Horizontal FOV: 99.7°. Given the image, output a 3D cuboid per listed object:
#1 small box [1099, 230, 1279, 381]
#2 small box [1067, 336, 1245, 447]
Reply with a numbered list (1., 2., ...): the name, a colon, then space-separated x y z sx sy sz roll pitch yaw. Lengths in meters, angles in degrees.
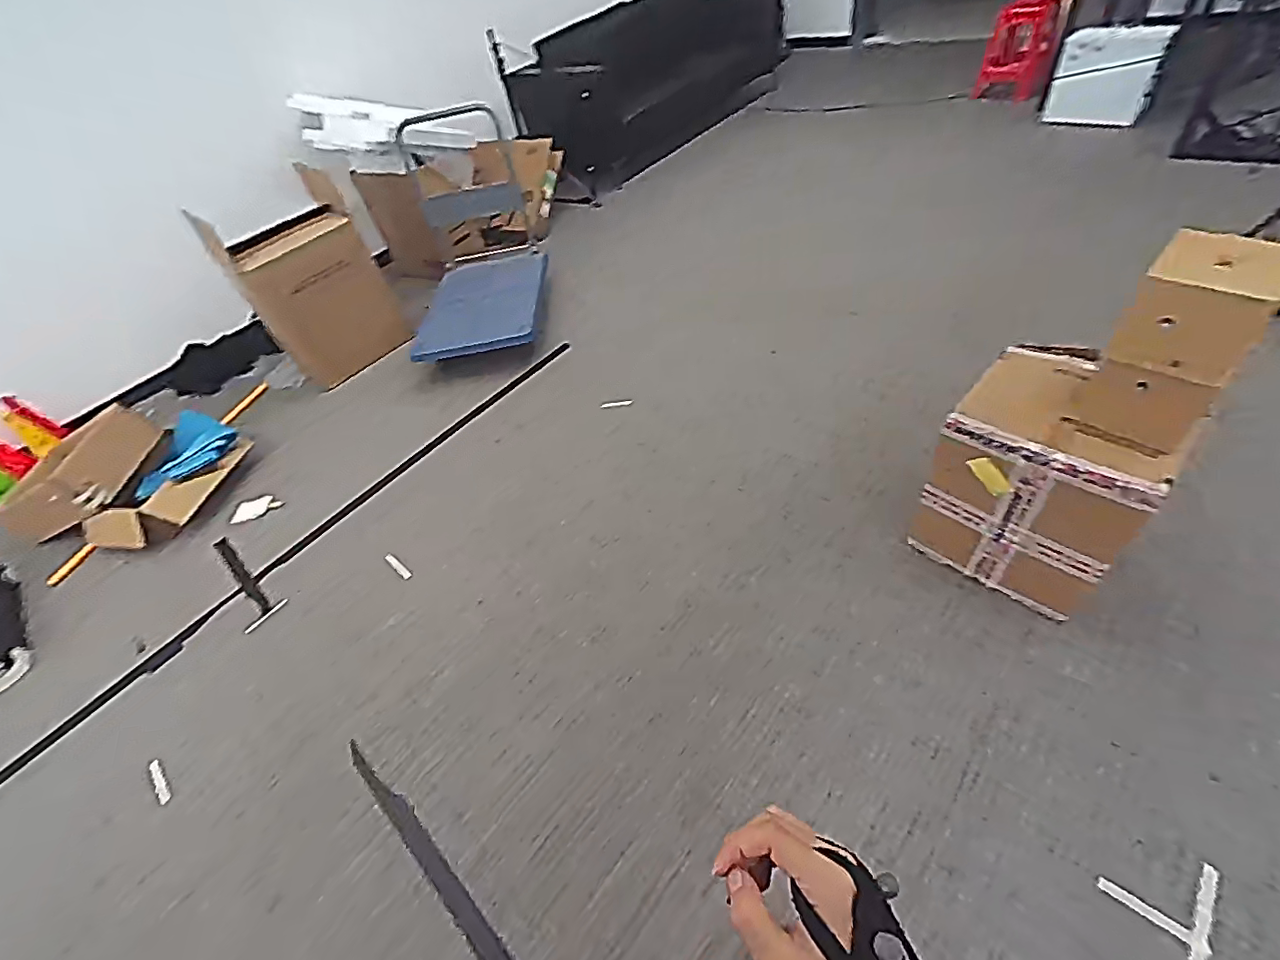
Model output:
1. small box: 0.939 -0.298 0.929 0.168 0.176 0.179 32 63 34
2. small box: 0.981 -0.193 1.046 0.168 0.176 0.179 -40 53 -20
